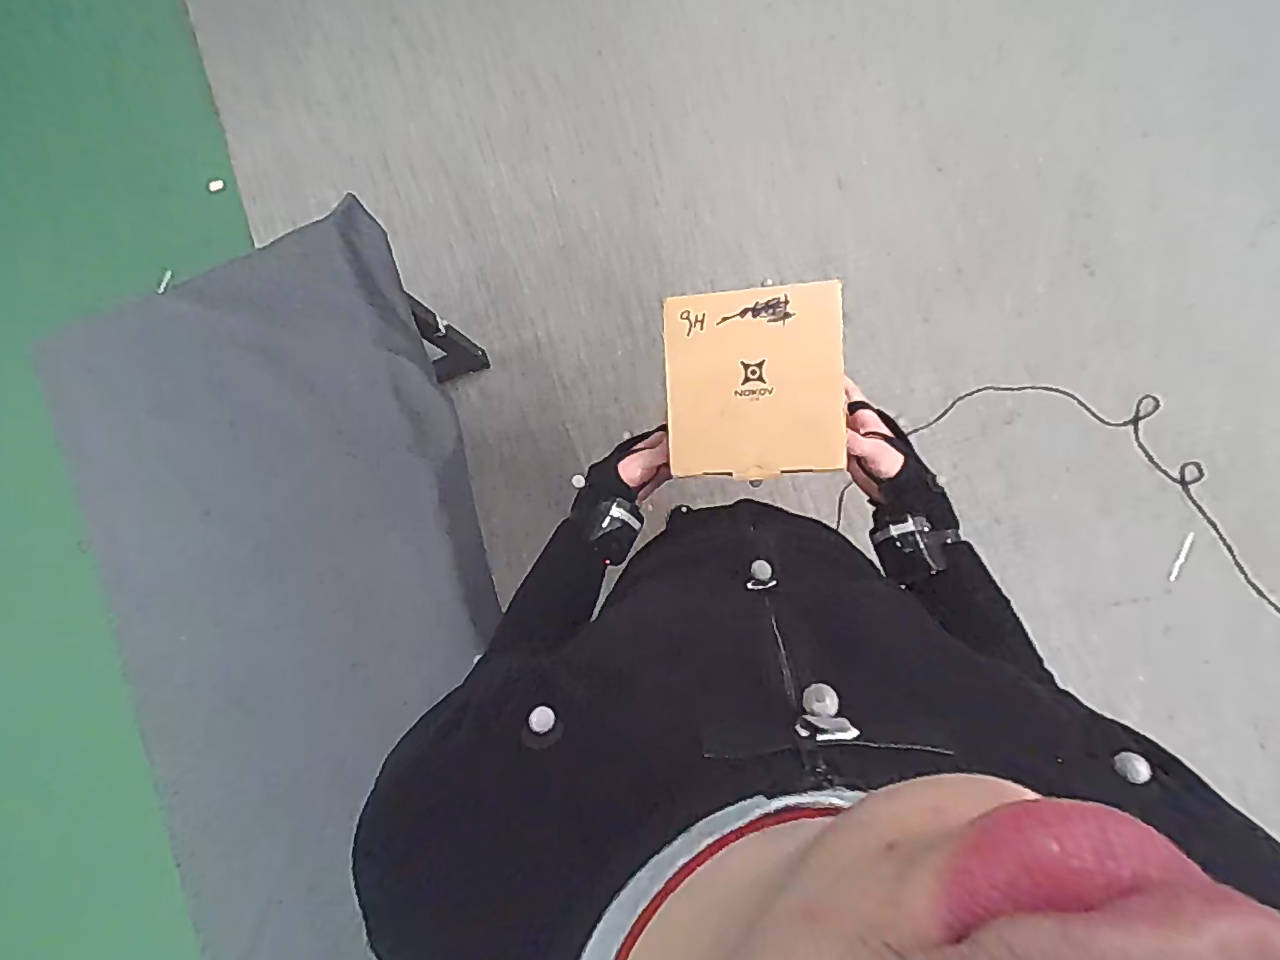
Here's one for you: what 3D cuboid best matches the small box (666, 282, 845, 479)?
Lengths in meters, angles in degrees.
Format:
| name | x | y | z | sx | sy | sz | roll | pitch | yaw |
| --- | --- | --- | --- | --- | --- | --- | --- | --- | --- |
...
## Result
| name | x | y | z | sx | sy | sz | roll | pitch | yaw |
| --- | --- | --- | --- | --- | --- | --- | --- | --- | --- |
| small box | 0.121 | -0.096 | 0.584 | 0.168 | 0.176 | 0.179 | -2 | 93 | 10 |
